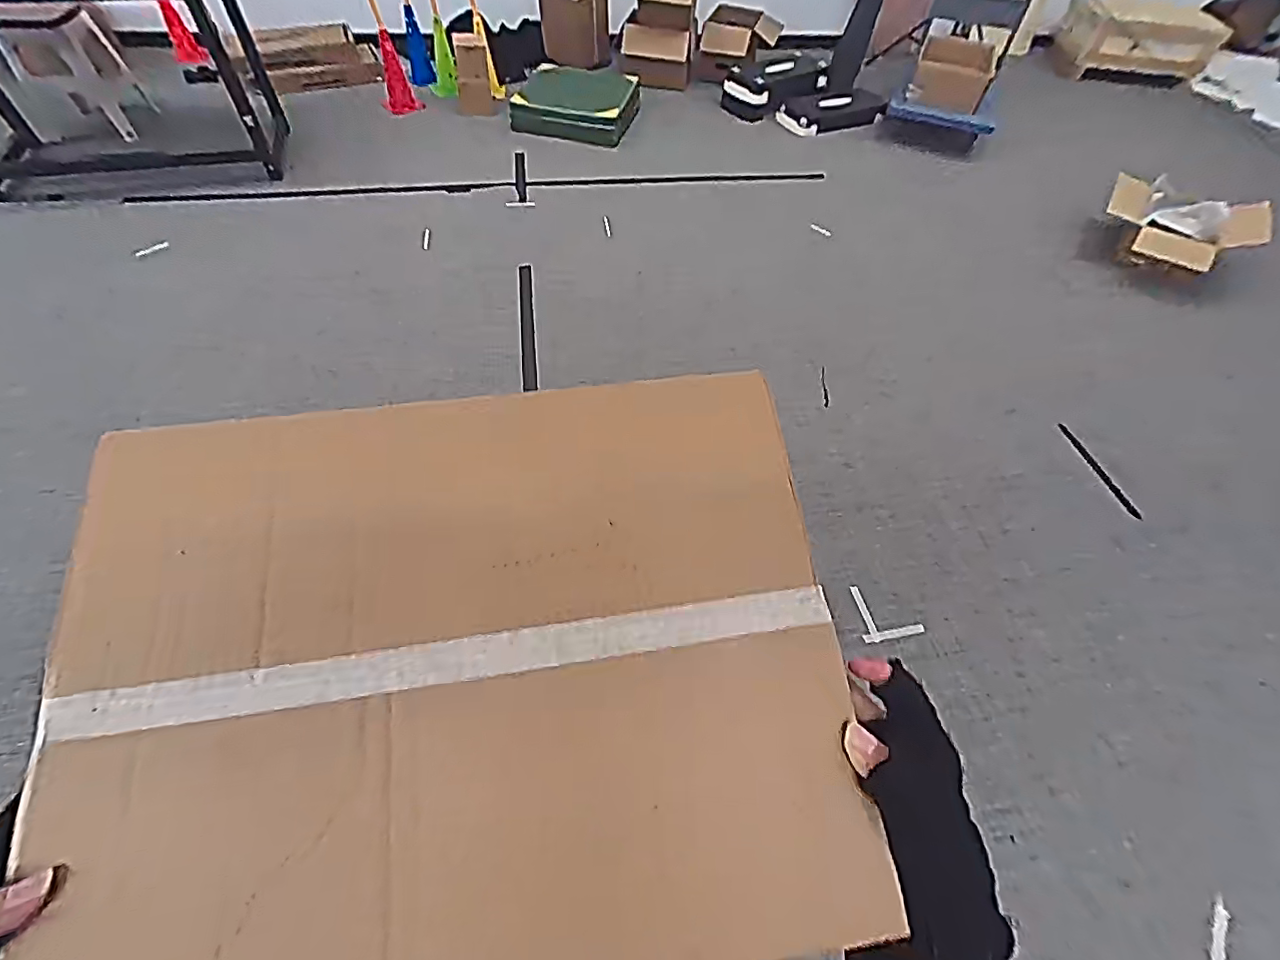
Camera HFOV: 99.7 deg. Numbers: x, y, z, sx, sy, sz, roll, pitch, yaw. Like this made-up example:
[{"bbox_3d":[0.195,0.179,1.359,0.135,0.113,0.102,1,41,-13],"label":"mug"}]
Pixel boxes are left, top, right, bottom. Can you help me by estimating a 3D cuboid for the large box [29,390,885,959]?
[{"bbox_3d":[-0.100,0.155,0.436,0.408,0.320,0.320,-7,70,-6],"label":"large box"}]
